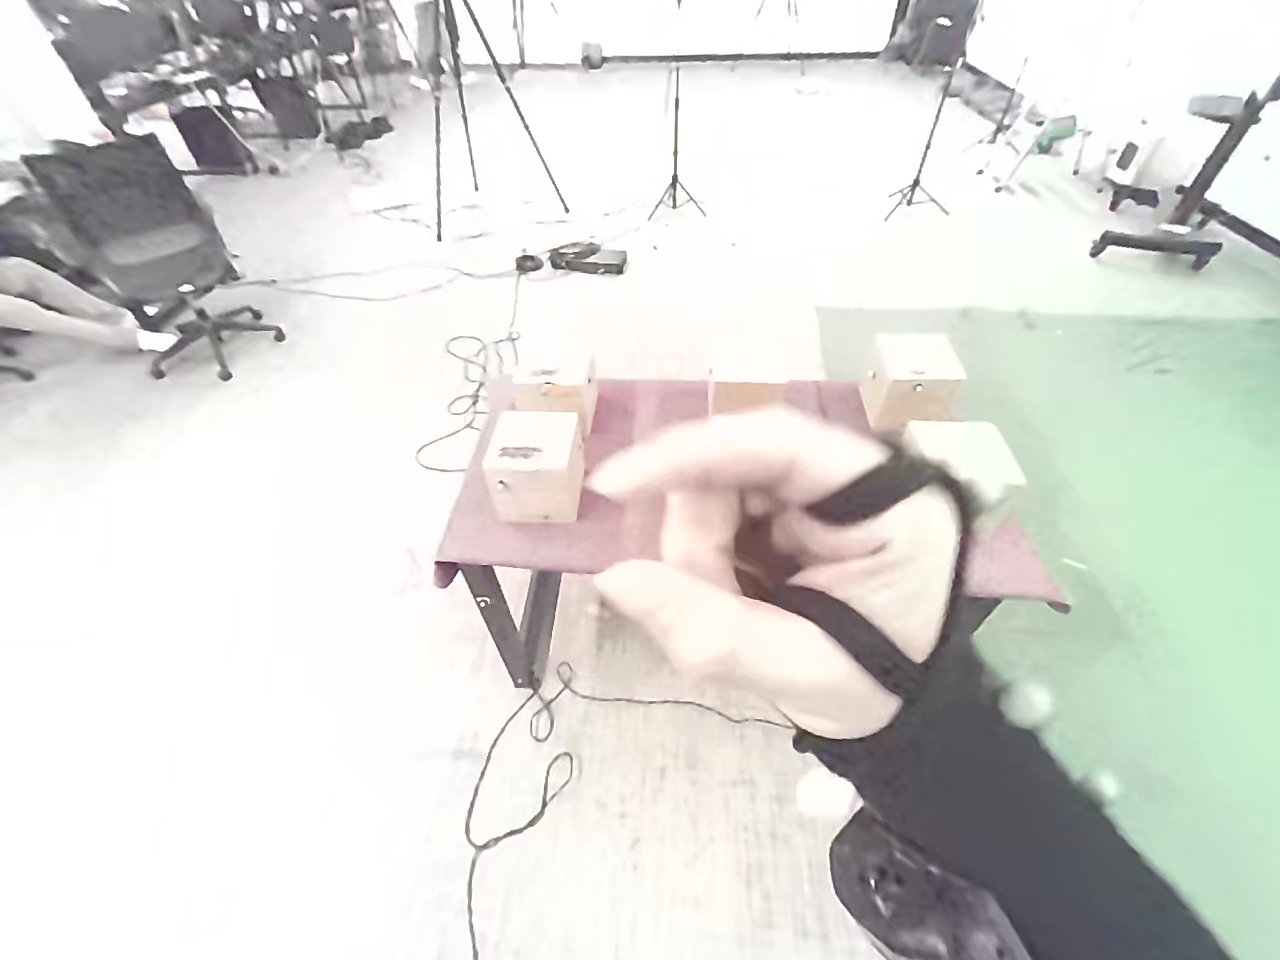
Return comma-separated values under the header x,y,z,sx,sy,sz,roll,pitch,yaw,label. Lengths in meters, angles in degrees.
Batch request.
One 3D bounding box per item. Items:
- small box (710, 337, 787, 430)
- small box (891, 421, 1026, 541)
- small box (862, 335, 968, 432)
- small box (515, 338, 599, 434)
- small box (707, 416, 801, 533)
x,y,z,sx,sy,sz,roll,pitch,yaw,label
0.262,-0.231,1.337,0.168,0.176,0.179,3,49,5,small box
0.633,0.001,1.105,0.168,0.176,0.179,3,46,6,small box
0.660,-0.234,1.323,0.168,0.176,0.179,1,49,5,small box
-0.196,-0.231,1.345,0.168,0.176,0.179,3,48,4,small box
0.230,-0.012,1.133,0.168,0.176,0.179,4,47,4,small box
